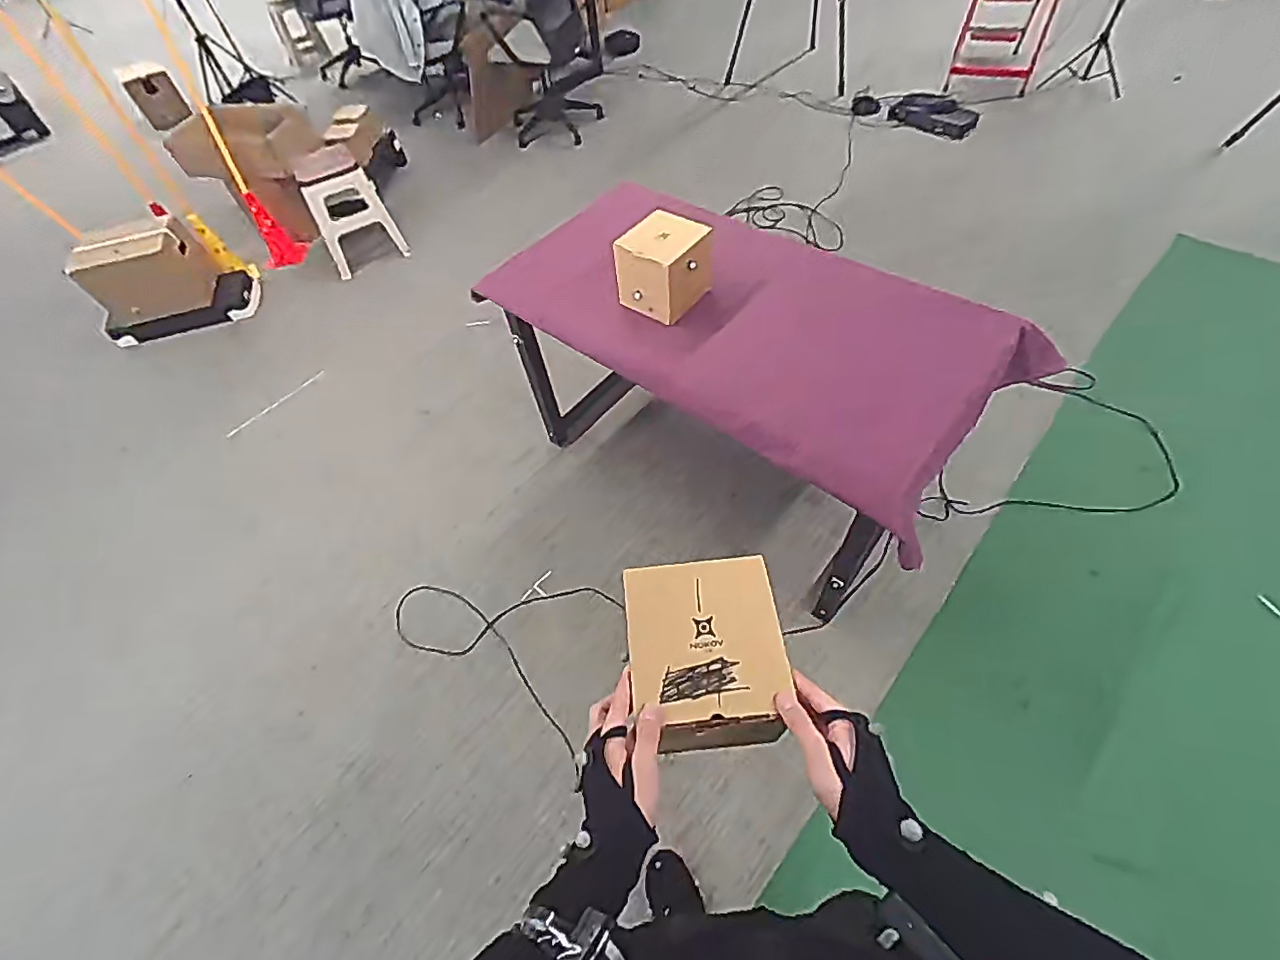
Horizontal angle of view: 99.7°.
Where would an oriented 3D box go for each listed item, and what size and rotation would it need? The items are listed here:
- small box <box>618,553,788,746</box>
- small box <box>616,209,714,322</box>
[{"bbox_3d":[0.066,0.208,0.642,0.168,0.176,0.179,-6,54,0],"label":"small box"},{"bbox_3d":[0.063,-0.523,1.324,0.168,0.176,0.179,32,65,24],"label":"small box"}]
